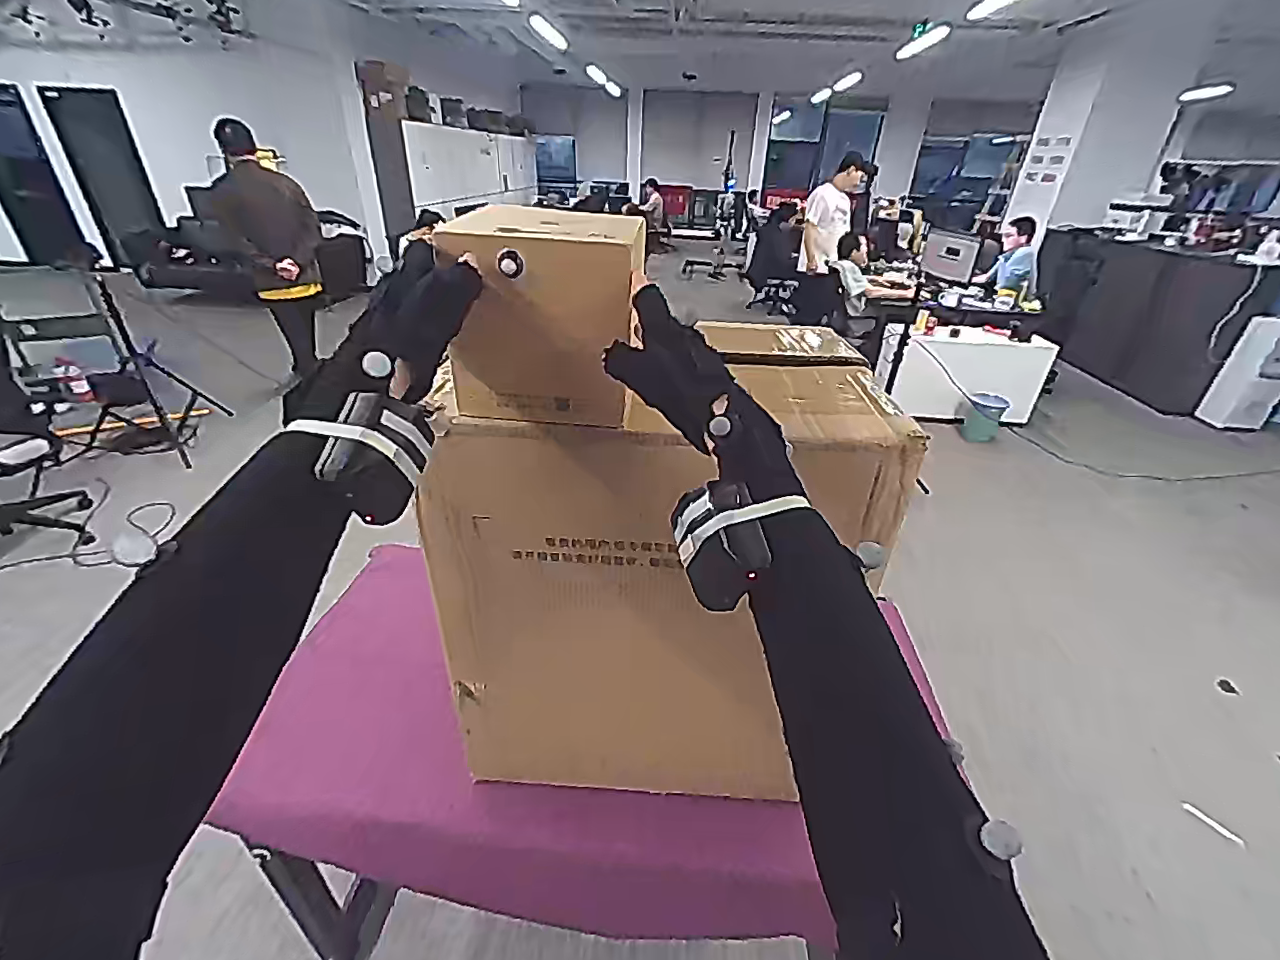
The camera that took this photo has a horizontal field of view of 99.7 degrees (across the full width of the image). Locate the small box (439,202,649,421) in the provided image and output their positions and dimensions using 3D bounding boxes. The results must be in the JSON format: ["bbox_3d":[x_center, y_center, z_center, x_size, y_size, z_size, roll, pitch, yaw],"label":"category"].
[{"bbox_3d":[-0.082,-0.175,0.546,0.168,0.176,0.179,4,32,2],"label":"small box"}]
